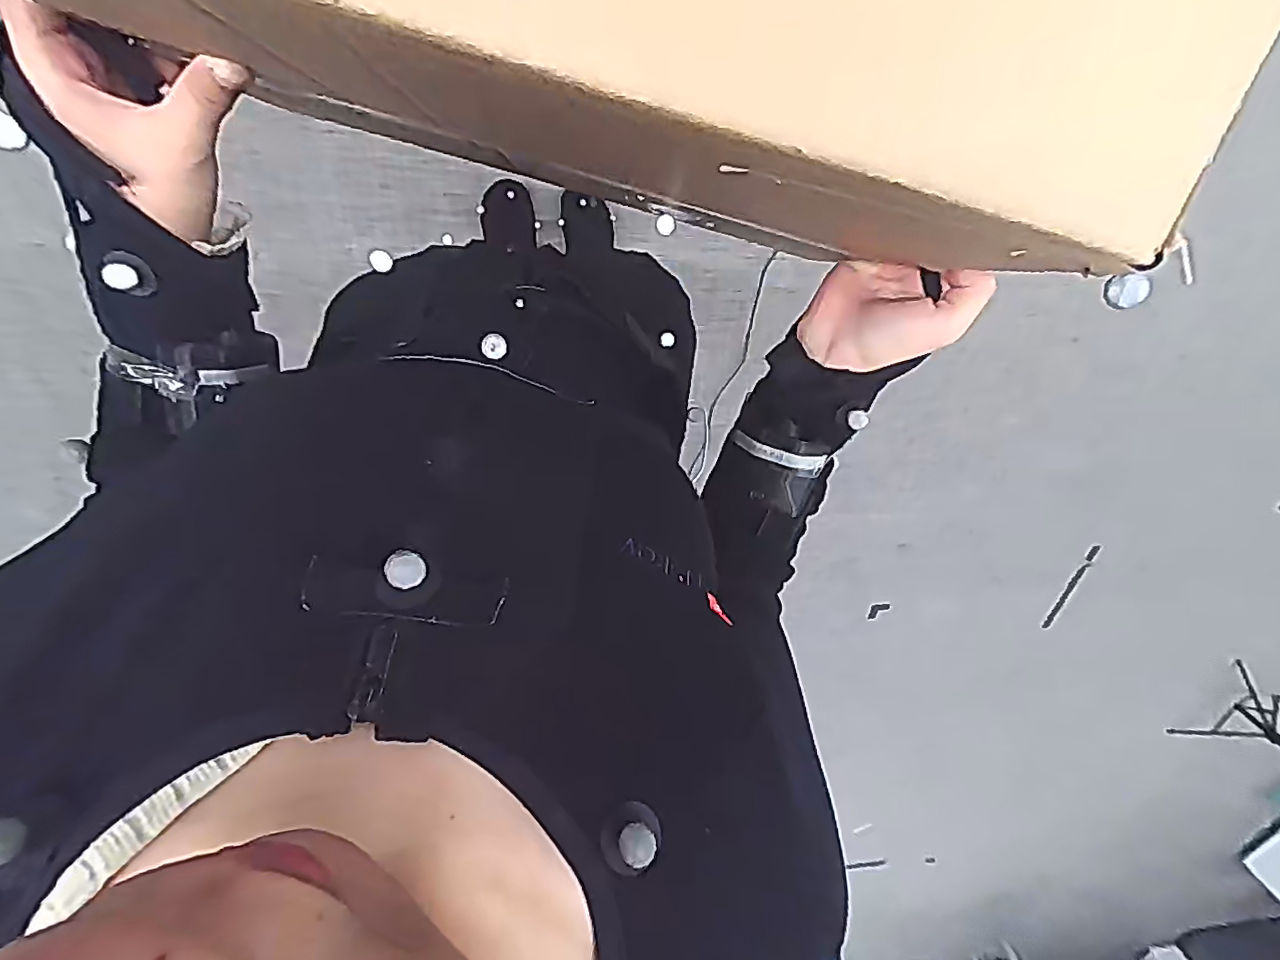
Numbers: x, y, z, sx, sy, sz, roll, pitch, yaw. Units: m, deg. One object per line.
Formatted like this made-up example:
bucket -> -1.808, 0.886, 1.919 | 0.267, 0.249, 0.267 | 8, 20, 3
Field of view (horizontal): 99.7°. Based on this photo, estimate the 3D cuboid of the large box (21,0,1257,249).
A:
large box -> -0.018, -0.307, 0.216 | 0.408, 0.320, 0.320 | 10, 114, -8
